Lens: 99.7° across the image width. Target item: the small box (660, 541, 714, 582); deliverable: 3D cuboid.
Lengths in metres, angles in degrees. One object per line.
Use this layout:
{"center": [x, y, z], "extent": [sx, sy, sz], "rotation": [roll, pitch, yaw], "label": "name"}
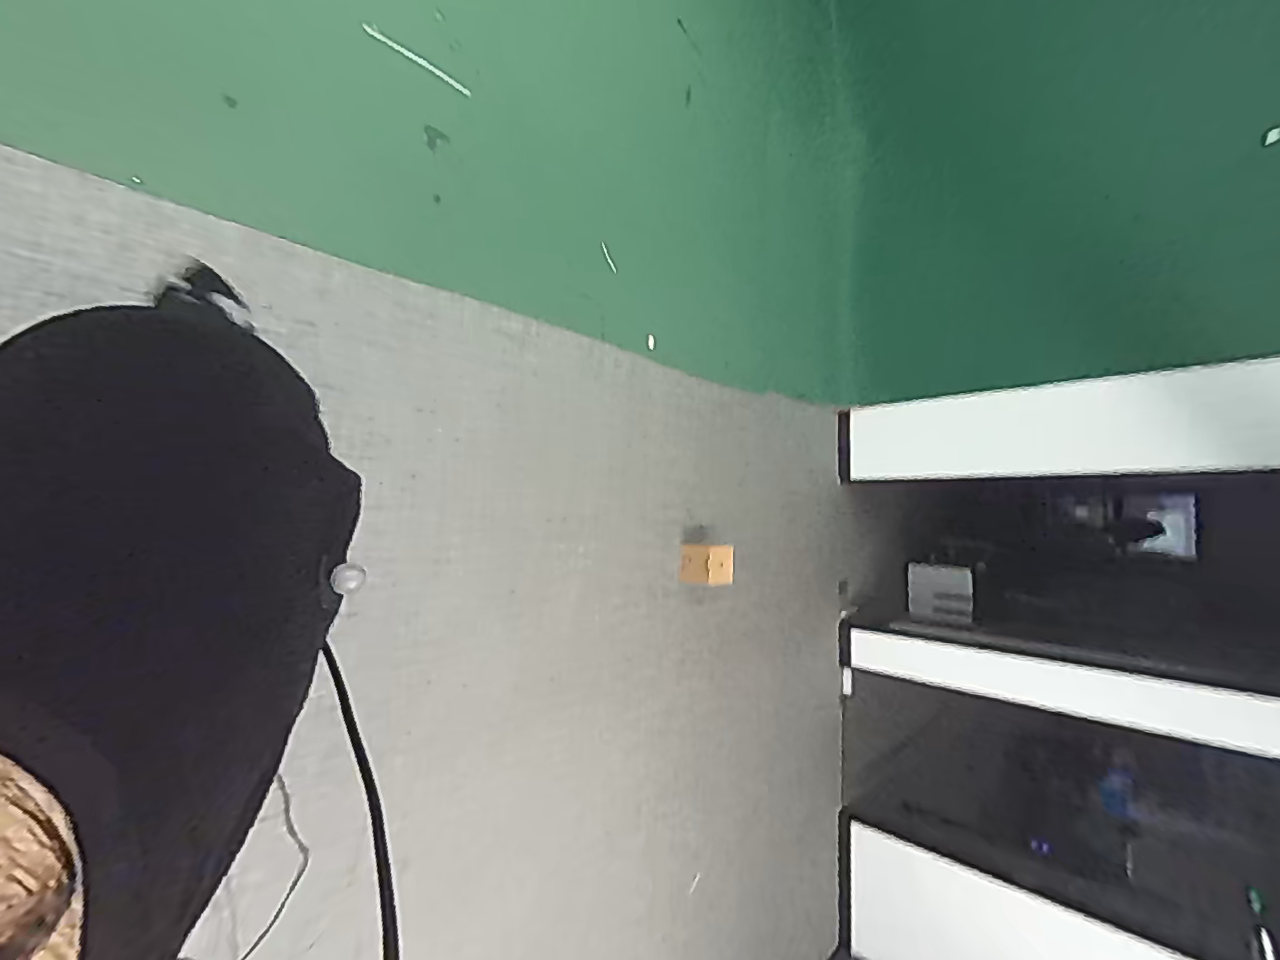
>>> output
{"center": [0.212, 0.359, 2.409], "extent": [0.179, 0.176, 0.168], "rotation": [6, 84, -47], "label": "small box"}
